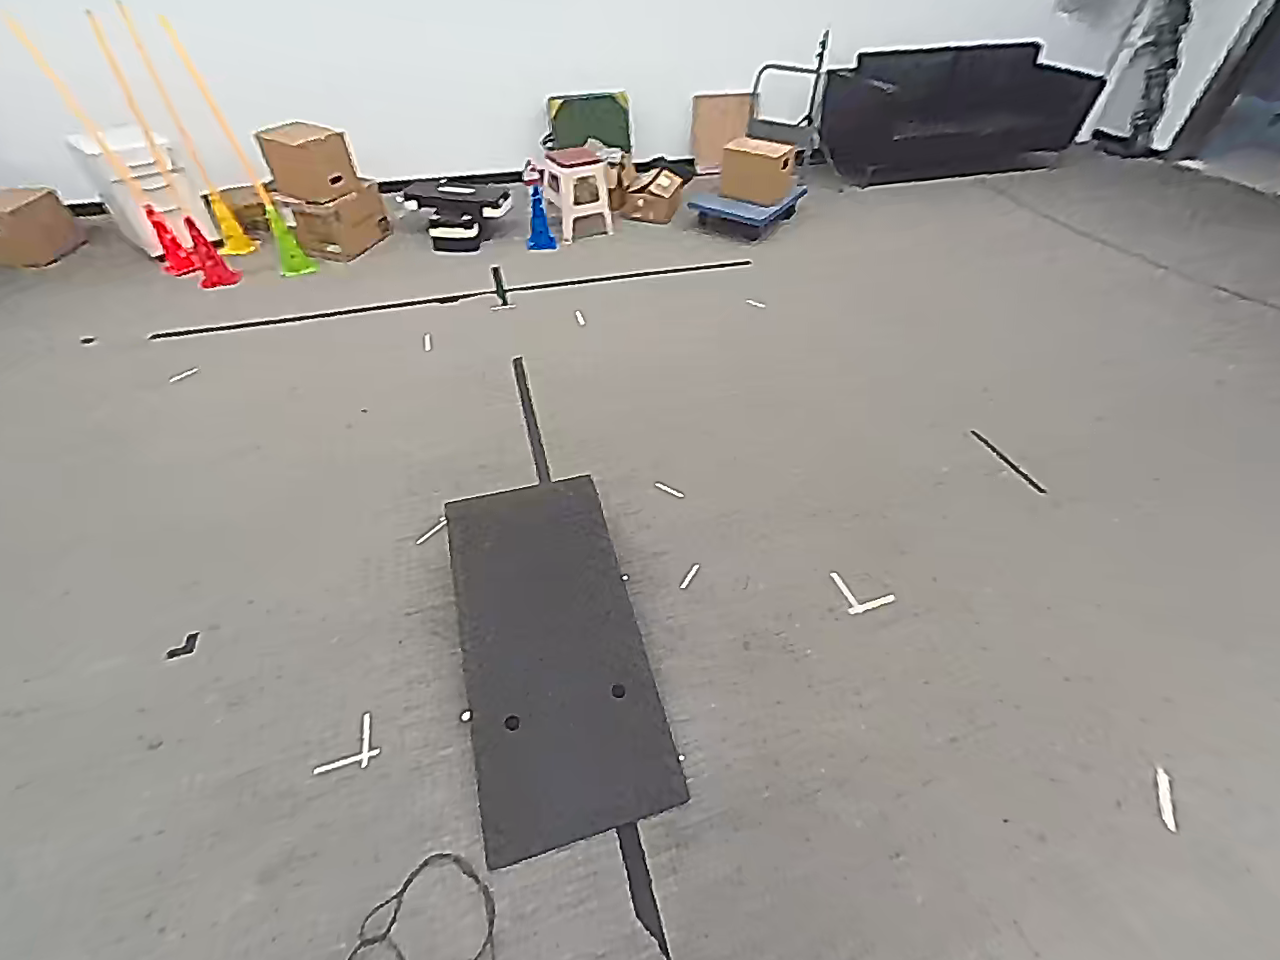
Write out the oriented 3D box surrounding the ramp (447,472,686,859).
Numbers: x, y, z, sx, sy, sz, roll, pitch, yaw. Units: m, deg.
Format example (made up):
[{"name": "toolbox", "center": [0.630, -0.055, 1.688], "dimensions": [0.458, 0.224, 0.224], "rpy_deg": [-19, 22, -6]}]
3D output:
[{"name": "ramp", "center": [-0.250, 0.420, 1.542], "dimensions": [0.509, 0.206, 0.991], "rpy_deg": [-12, 47, -15]}]
